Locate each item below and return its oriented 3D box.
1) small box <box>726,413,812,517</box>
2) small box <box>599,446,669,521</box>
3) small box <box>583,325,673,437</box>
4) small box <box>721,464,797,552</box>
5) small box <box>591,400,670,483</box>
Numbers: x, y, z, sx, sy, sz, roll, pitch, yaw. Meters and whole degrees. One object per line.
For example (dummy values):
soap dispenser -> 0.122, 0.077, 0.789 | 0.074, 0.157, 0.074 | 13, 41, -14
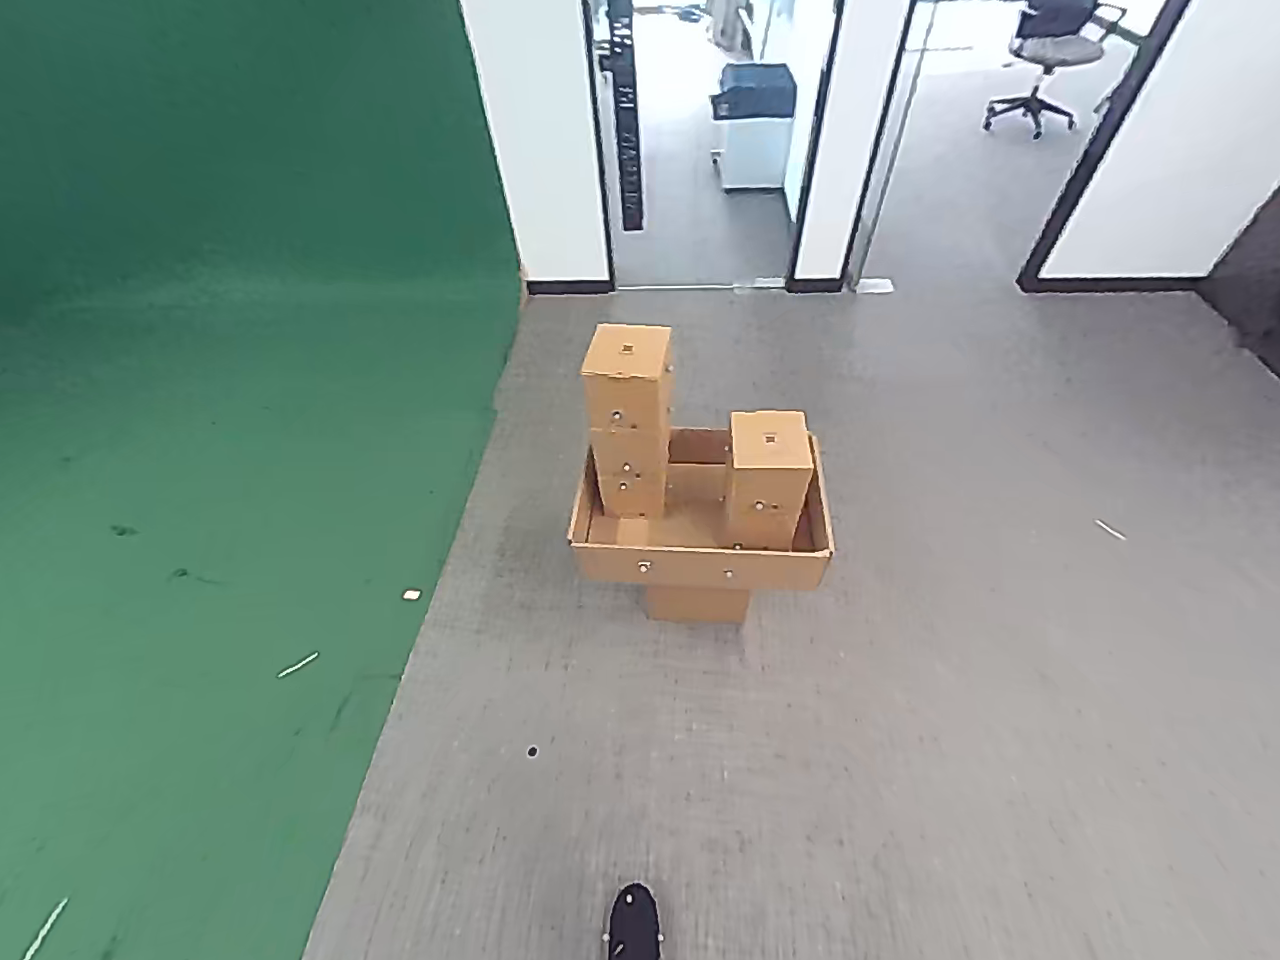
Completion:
small box -> 0.288, -0.035, 1.246 | 0.168, 0.176, 0.179 | 1, 50, 5
small box -> -0.011, -0.012, 1.459 | 0.168, 0.176, 0.179 | 4, 50, 6
small box -> -0.020, -0.222, 1.209 | 0.168, 0.176, 0.179 | 6, 51, 8
small box -> 0.296, 0.069, 1.372 | 0.168, 0.176, 0.179 | 2, 49, 5
small box -> -0.017, -0.117, 1.334 | 0.168, 0.176, 0.179 | 5, 51, 8
